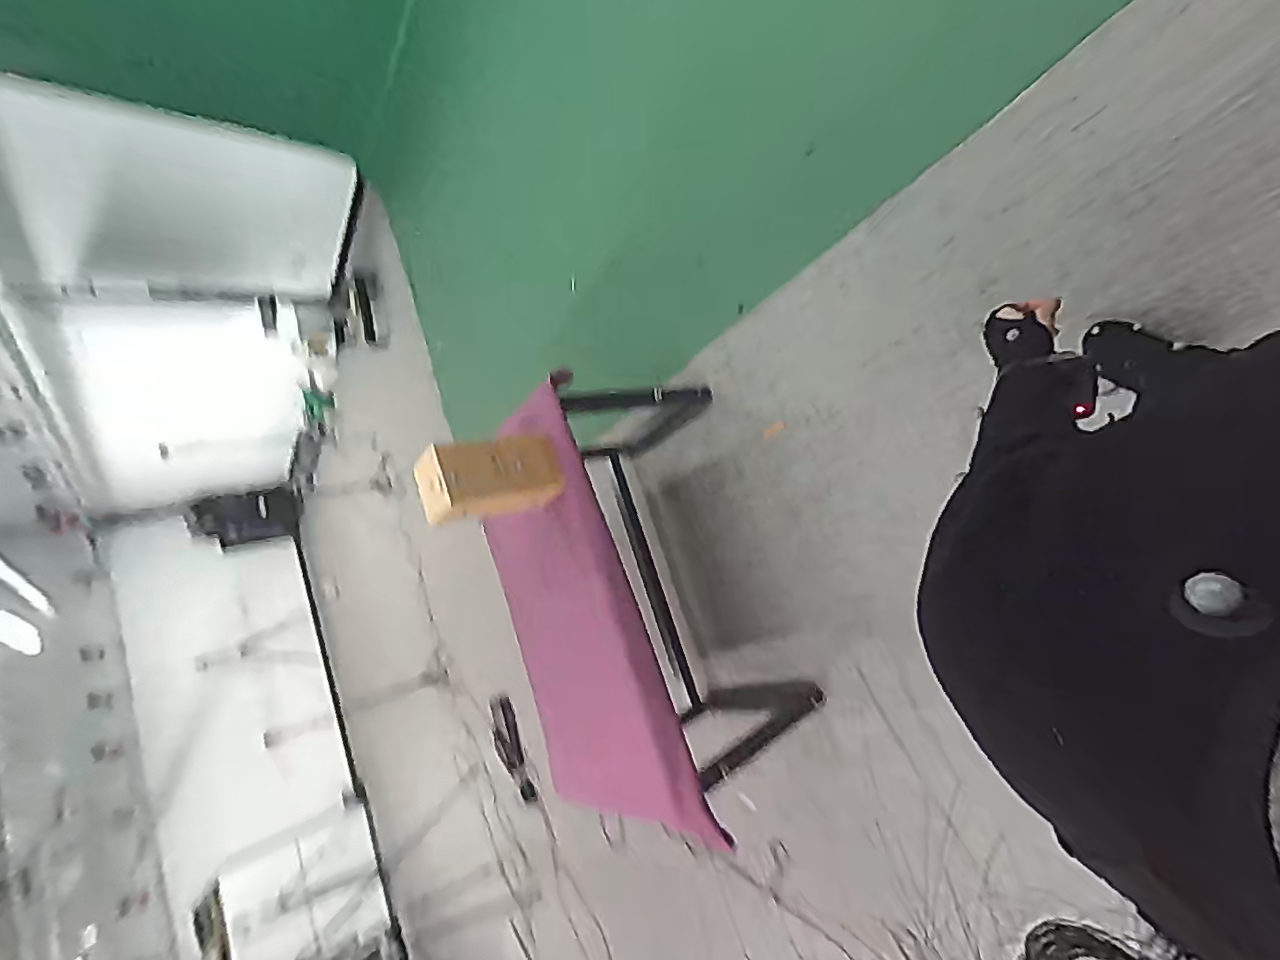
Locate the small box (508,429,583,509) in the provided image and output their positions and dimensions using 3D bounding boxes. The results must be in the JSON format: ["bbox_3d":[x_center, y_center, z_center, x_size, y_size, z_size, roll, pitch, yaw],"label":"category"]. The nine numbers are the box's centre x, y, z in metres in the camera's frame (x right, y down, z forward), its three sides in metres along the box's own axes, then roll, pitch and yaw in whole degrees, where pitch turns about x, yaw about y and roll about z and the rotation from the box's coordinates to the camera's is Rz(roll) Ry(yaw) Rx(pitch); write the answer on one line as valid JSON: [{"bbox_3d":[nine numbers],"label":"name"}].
[{"bbox_3d":[-0.290,-0.036,1.539,0.168,0.176,0.179,-33,74,48],"label":"small box"}]

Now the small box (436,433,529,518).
[{"bbox_3d":[-0.417,-0.012,1.437,0.179,0.176,0.168,-32,75,49],"label":"small box"}]
